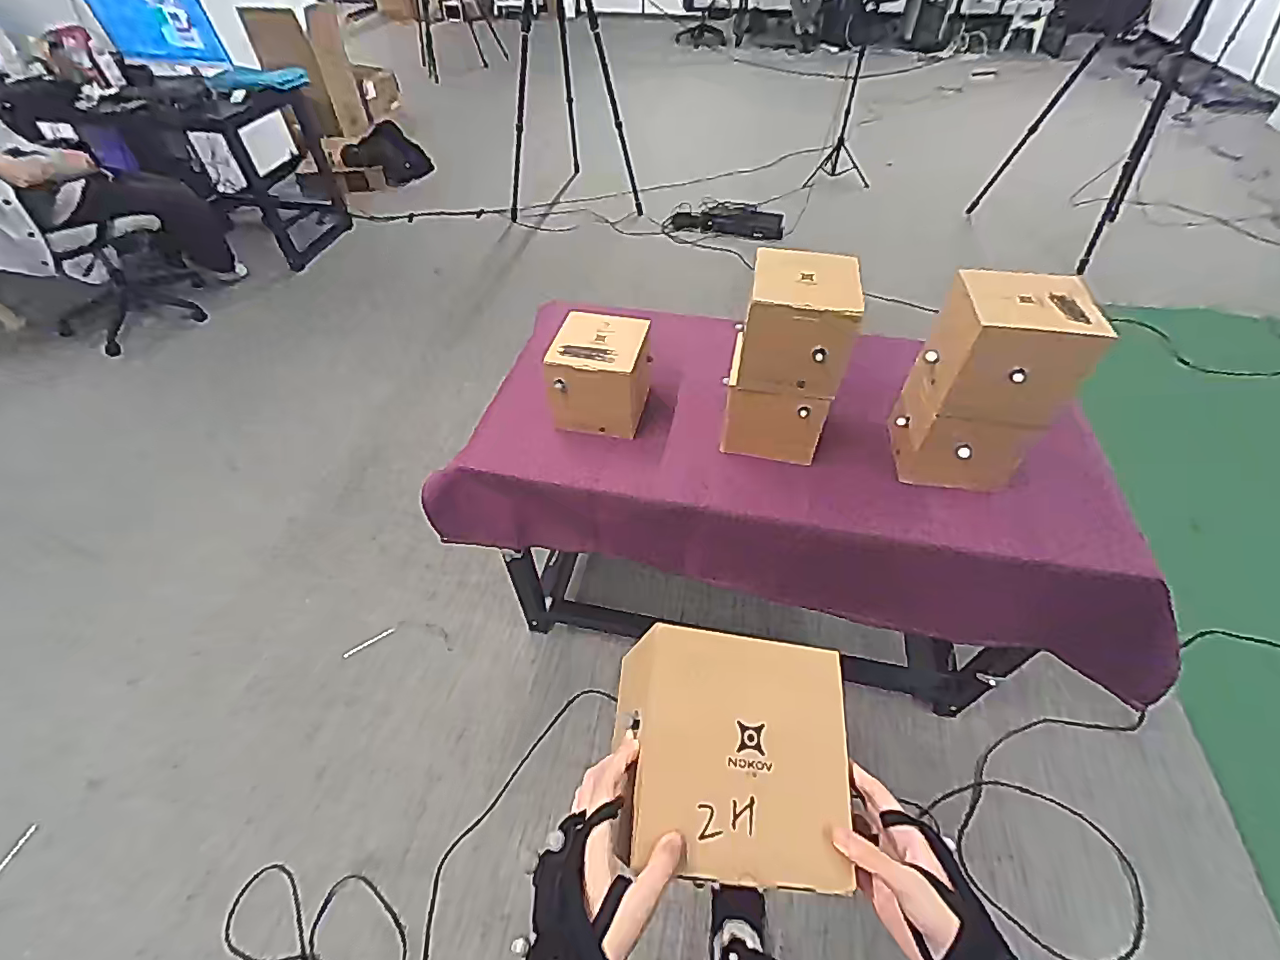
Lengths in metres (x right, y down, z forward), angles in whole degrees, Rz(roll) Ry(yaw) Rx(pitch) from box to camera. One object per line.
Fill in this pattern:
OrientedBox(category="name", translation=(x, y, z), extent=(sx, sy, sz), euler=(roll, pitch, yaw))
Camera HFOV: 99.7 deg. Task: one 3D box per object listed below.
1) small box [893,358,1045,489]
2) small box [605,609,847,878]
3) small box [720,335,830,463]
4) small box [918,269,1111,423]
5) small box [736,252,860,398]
OrientedBox(category="small box", translation=(0.573, -0.100, 0.976), extent=(0.179, 0.176, 0.168), euler=(6, 49, 8))
OrientedBox(category="small box", translation=(0.066, 0.238, 0.495), extent=(0.168, 0.176, 0.179), euler=(11, 60, -6))
OrientedBox(category="small box", translation=(0.254, -0.152, 1.033), extent=(0.179, 0.176, 0.168), euler=(10, 49, 8))
OrientedBox(category="small box", translation=(0.569, -0.208, 0.851), extent=(0.179, 0.176, 0.168), euler=(7, 48, 8))
OrientedBox(category="small box", translation=(0.259, -0.259, 0.911), extent=(0.168, 0.176, 0.179), euler=(9, 48, 7))
